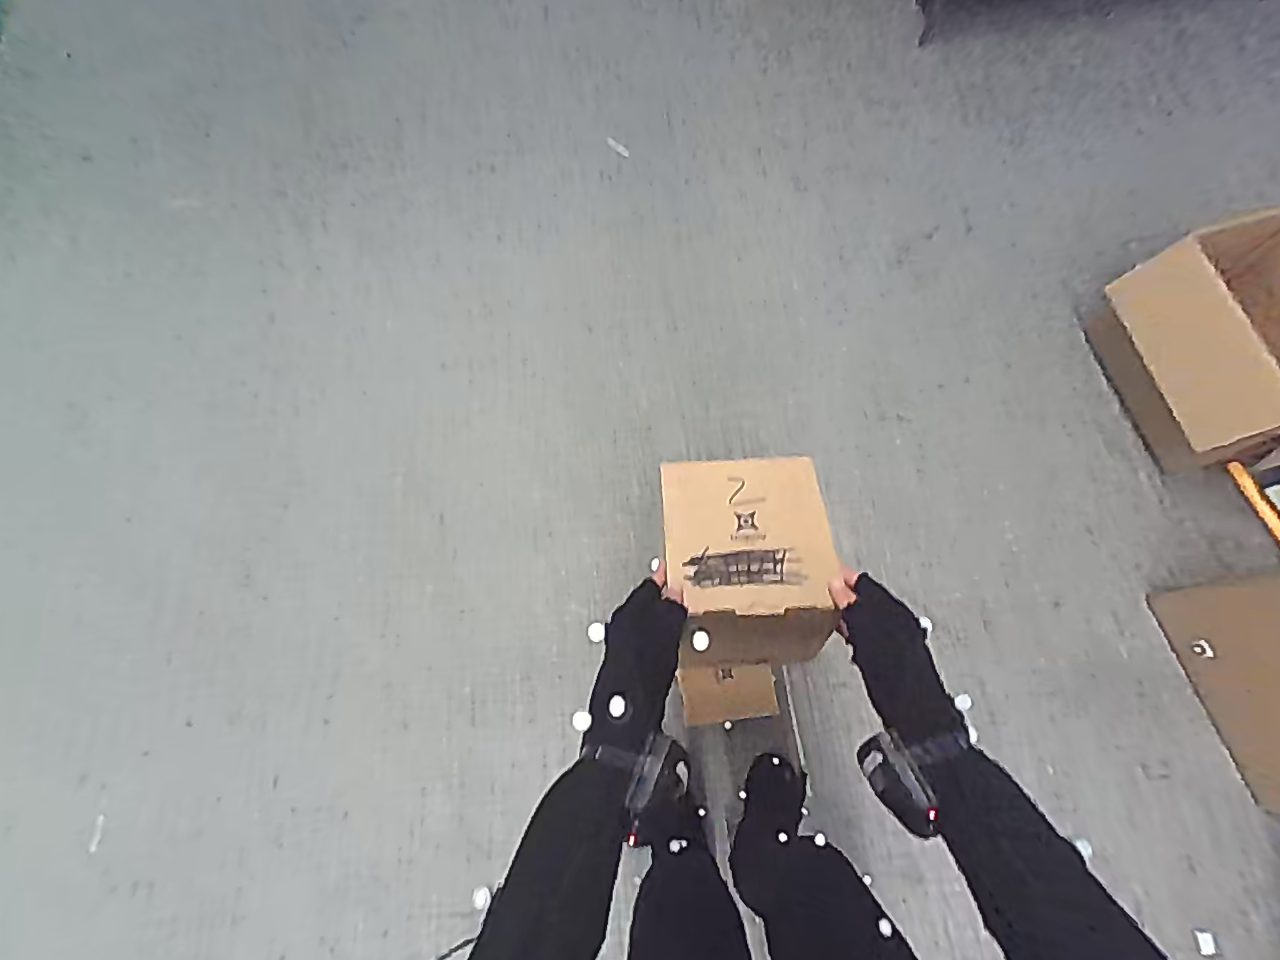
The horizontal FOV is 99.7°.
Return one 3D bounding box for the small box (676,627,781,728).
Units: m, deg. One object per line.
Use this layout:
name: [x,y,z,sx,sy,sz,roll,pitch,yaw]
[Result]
small box: [0.170,0.393,1.088,0.179,0.176,0.168,-9,70,3]
